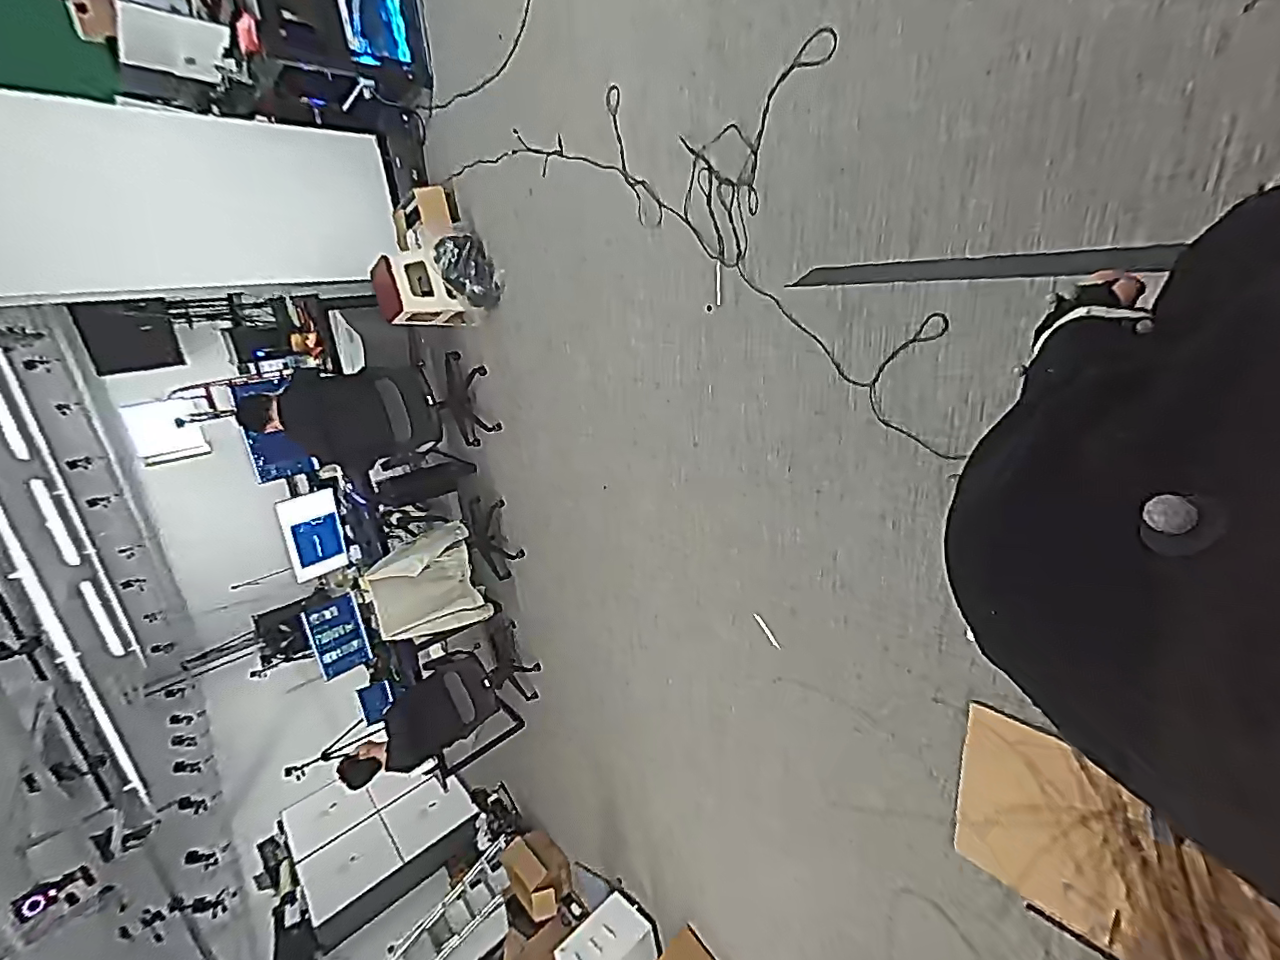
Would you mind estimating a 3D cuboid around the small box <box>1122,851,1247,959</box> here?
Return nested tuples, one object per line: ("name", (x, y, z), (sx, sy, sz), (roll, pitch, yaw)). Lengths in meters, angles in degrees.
("small box", (1.271, 1.028, 1.262), (0.168, 0.176, 0.179), (21, 122, 45))
